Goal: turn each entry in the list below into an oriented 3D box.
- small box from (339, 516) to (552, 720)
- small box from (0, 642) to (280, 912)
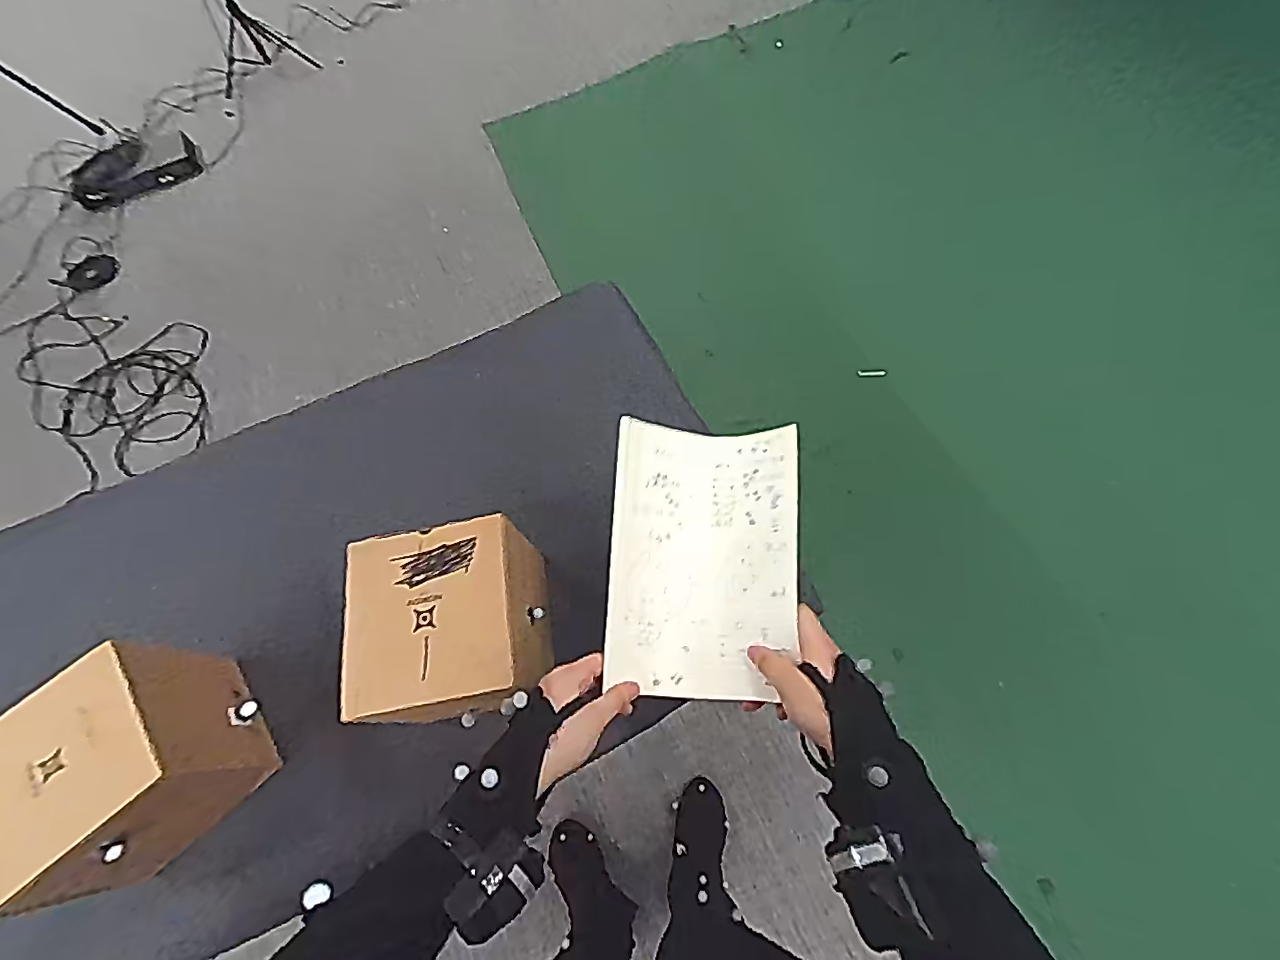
[{"bbox_3d":[-0.204,0.162,0.606,0.168,0.176,0.179,-12,66,1],"label":"small box"},{"bbox_3d":[-0.547,0.306,0.583,0.179,0.176,0.168,-41,69,-13],"label":"small box"}]
